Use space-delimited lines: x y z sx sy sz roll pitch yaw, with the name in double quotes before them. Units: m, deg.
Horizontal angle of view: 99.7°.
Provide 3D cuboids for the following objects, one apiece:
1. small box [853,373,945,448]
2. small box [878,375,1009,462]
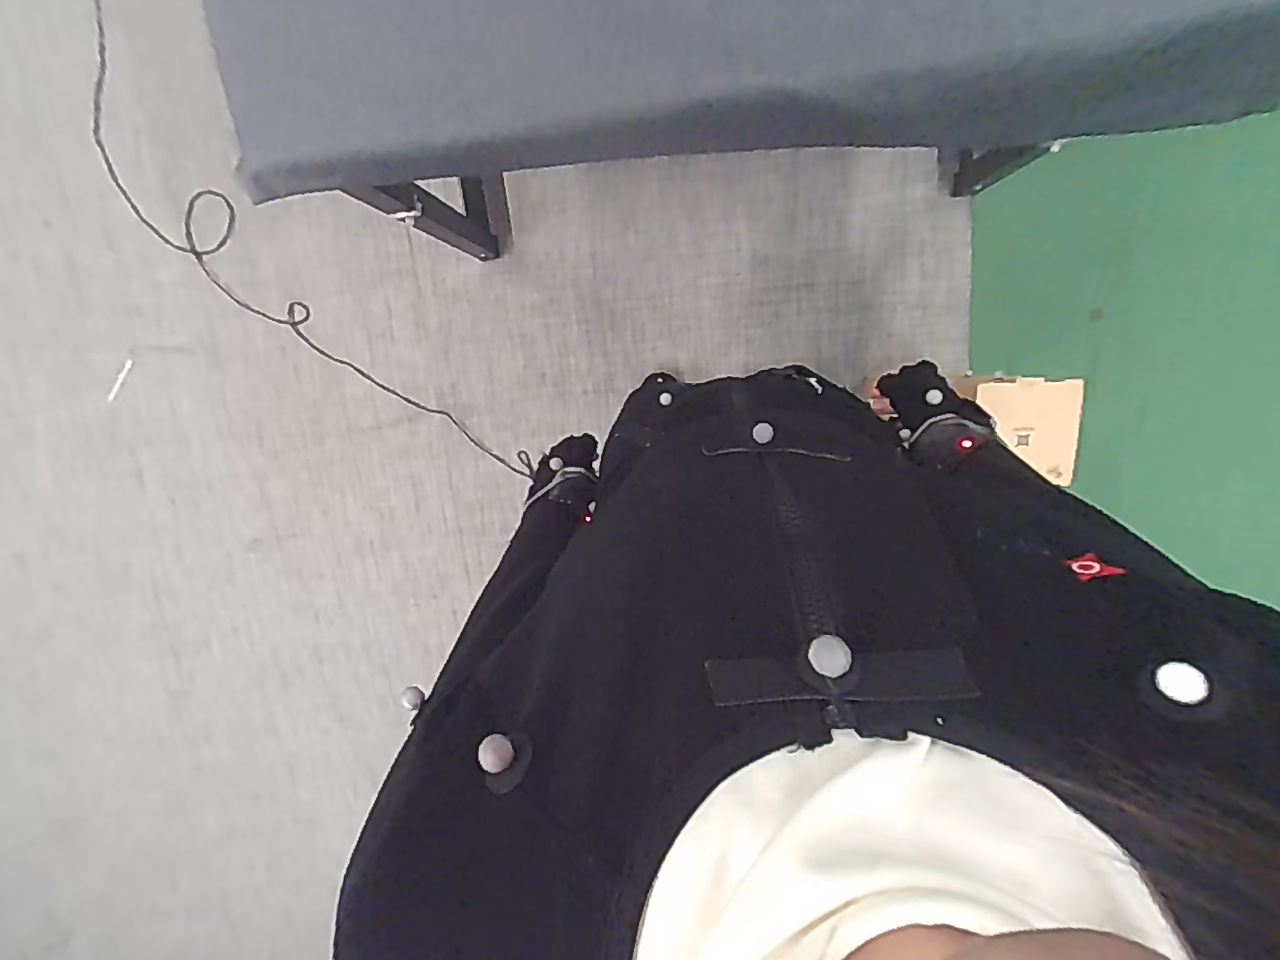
"small box" 0.625 -0.169 1.284 0.179 0.176 0.168 -1 102 5
"small box" 0.619 -0.133 1.123 0.179 0.176 0.168 0 102 4
